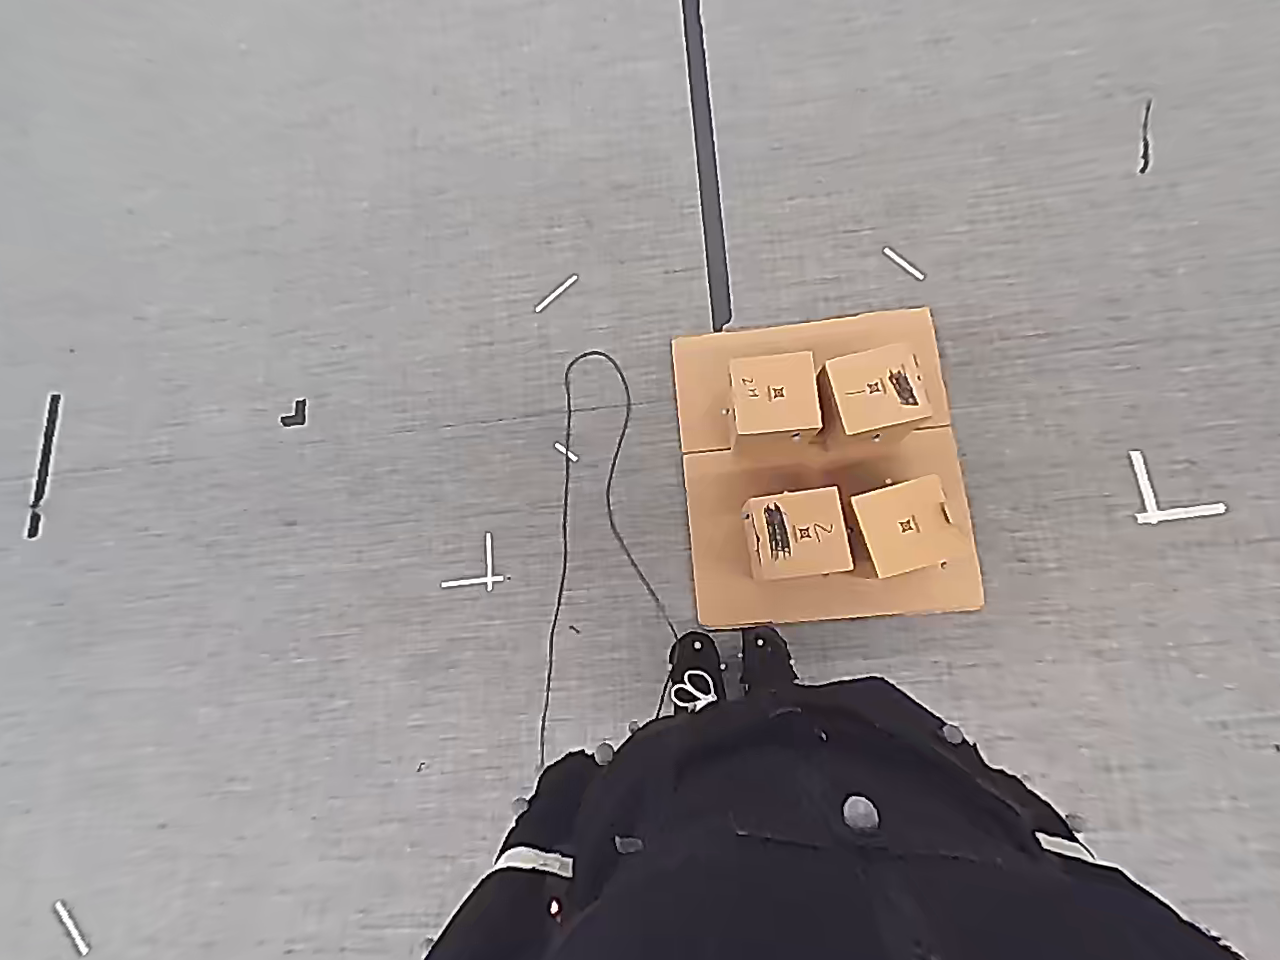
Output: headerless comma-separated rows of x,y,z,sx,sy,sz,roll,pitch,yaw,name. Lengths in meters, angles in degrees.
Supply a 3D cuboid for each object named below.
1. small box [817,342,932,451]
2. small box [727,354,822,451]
0.492,-0.173,1.174,0.179,0.176,0.168,-13,78,5,small box
0.290,-0.165,1.199,0.179,0.176,0.168,-4,79,6,small box
